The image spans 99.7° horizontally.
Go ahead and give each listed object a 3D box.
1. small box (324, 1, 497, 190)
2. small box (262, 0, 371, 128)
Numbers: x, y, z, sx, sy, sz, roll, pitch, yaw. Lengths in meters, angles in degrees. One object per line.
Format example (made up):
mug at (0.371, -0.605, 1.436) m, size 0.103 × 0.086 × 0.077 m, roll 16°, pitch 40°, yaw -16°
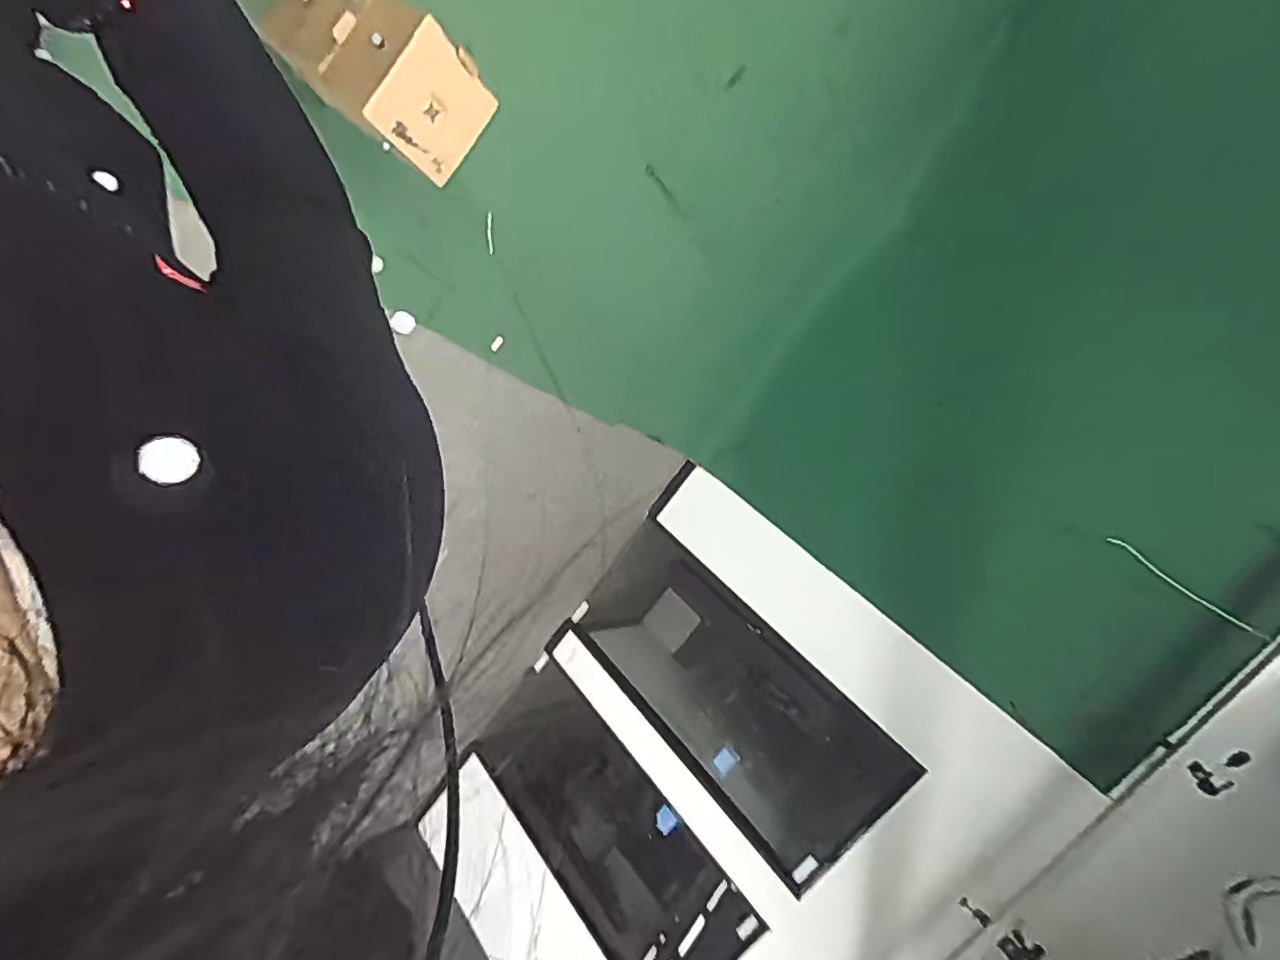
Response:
small box at (-0.383, -0.640, 0.903) m, size 0.179 × 0.176 × 0.168 m, roll -51°, pitch 155°, yaw 5°
small box at (-0.595, -0.843, 1.054) m, size 0.179 × 0.176 × 0.168 m, roll -49°, pitch 154°, yaw 2°
